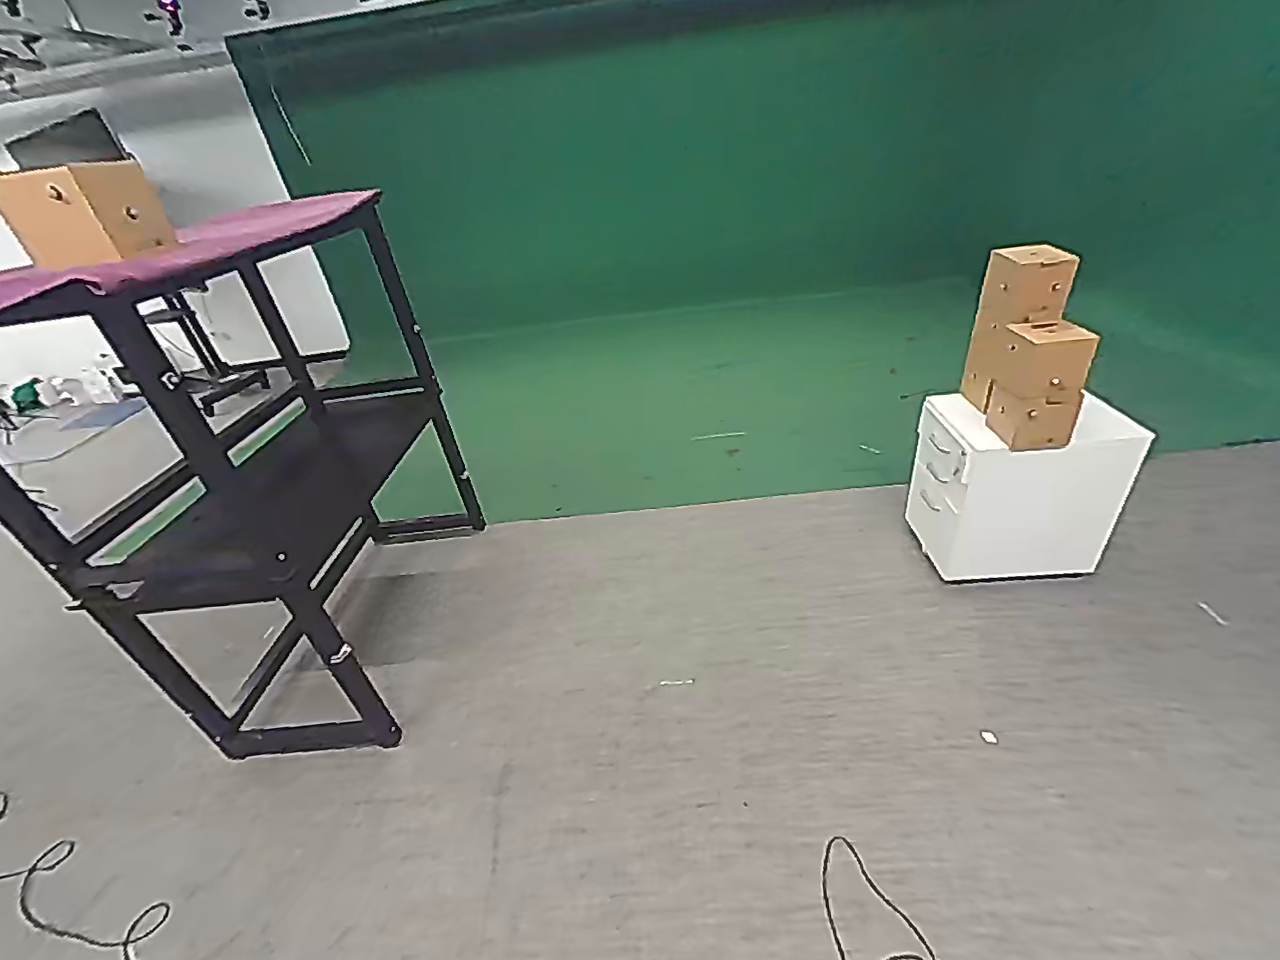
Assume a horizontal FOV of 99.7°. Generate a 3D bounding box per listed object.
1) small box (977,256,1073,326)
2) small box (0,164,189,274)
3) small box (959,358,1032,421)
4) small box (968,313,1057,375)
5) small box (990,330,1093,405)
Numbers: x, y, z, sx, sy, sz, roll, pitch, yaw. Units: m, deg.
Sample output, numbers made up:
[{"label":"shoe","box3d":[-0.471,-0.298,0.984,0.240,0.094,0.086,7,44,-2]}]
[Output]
[{"label":"small box","box3d":[1.196,-0.588,1.693,0.168,0.176,0.179,-3,34,4]},{"label":"small box","box3d":[-1.072,-0.523,1.081,0.179,0.176,0.168,-6,31,3]},{"label":"small box","box3d":[1.238,-0.318,1.873,0.168,0.176,0.179,-5,34,5]},{"label":"small box","box3d":[1.216,-0.455,1.784,0.168,0.176,0.179,-4,35,6]},{"label":"small box","box3d":[1.173,-0.332,1.597,0.168,0.176,0.179,-4,32,6]}]
